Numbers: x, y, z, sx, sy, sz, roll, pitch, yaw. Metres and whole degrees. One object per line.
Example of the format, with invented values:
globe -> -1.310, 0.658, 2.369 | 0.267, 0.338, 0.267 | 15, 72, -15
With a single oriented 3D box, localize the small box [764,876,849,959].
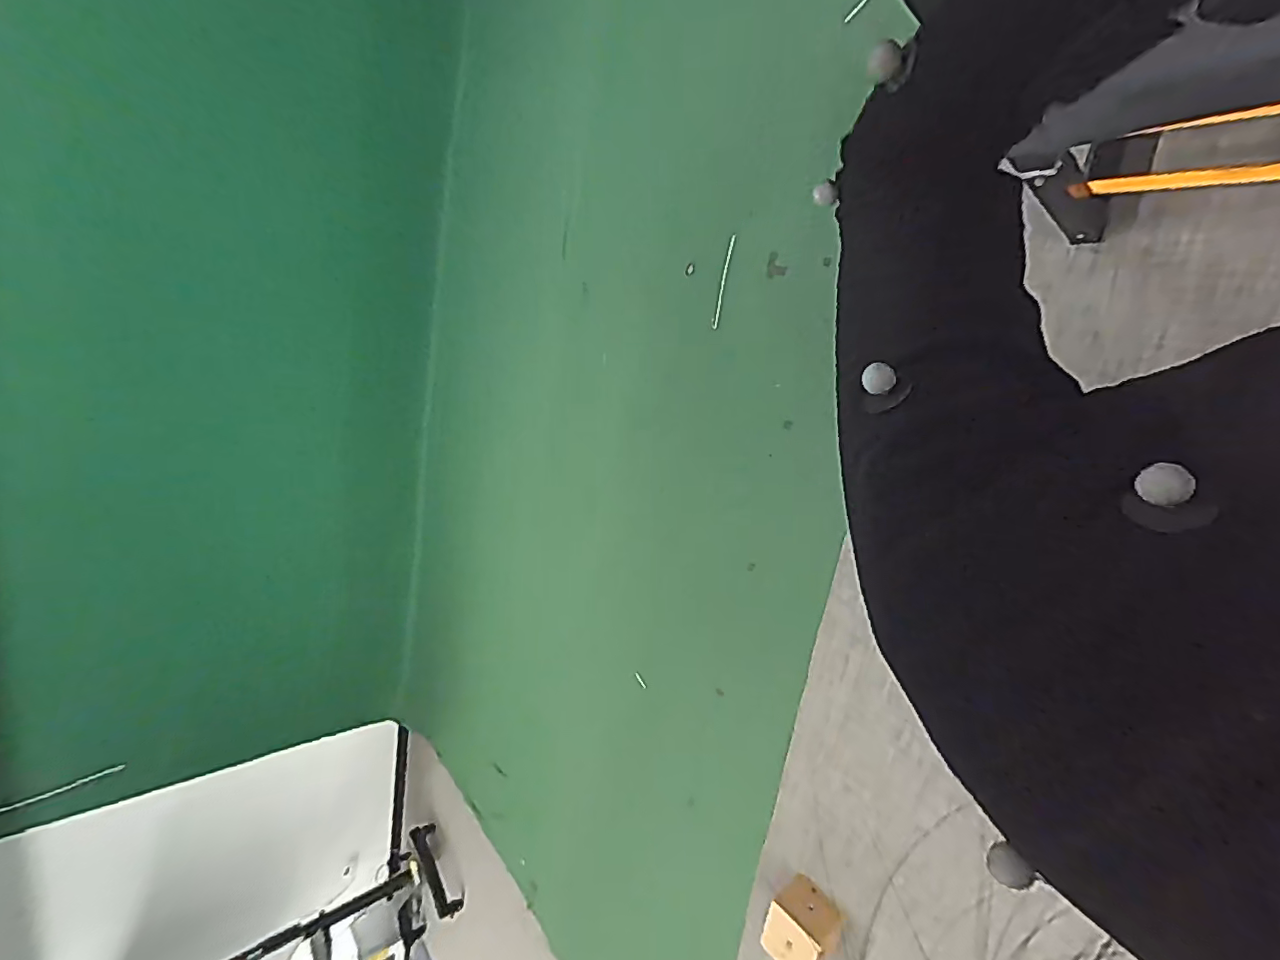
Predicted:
small box -> 0.508, 1.365, 1.640 | 0.168, 0.176, 0.179 | 24, 108, 46
